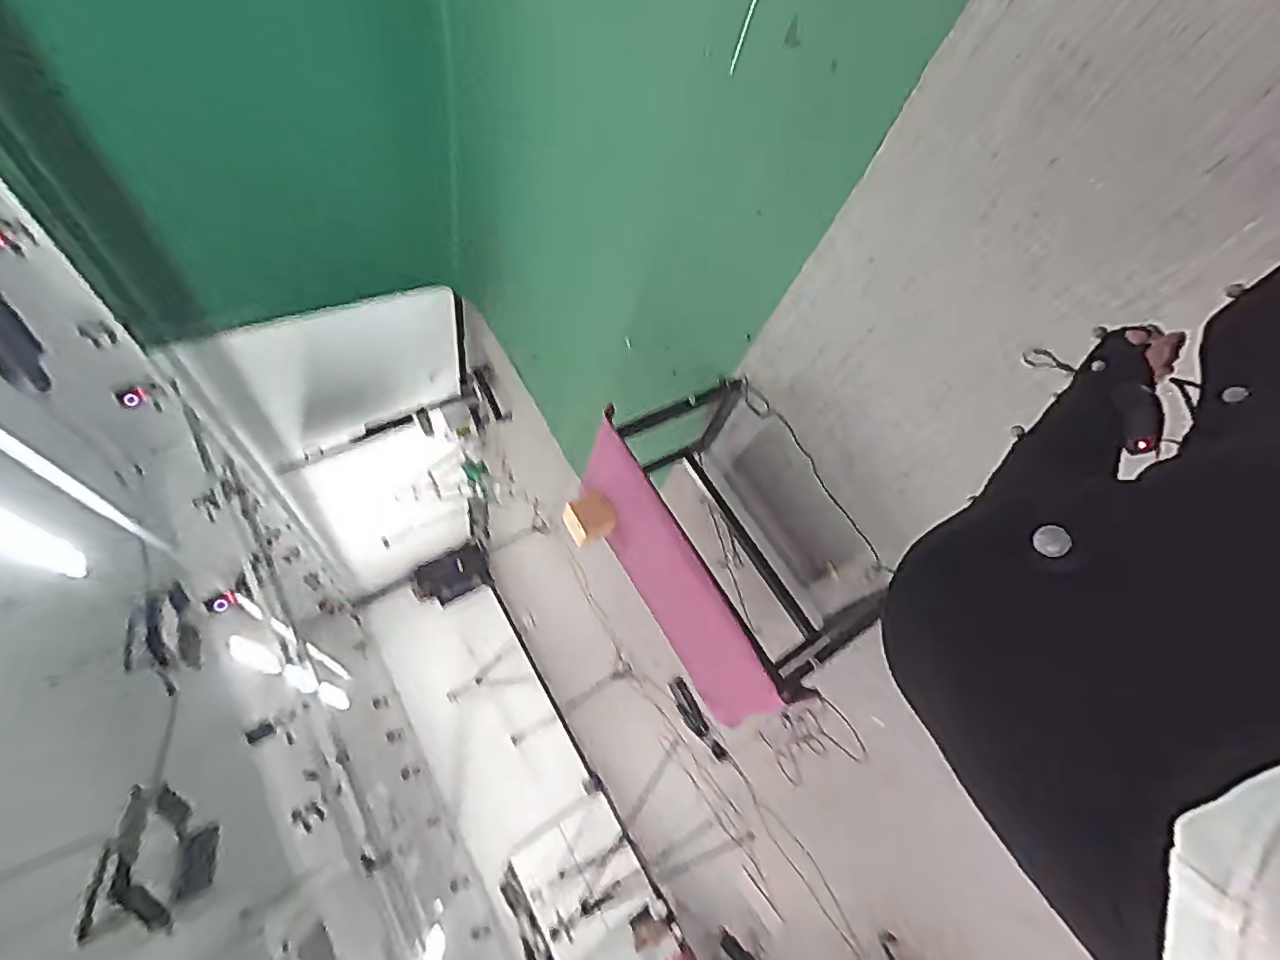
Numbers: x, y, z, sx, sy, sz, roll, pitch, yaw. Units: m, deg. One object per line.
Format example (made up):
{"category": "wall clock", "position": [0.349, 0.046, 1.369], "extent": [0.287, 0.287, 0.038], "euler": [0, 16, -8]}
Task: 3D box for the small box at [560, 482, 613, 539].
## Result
{"category": "small box", "position": [-0.238, 0.136, 2.413], "extent": [0.168, 0.176, 0.179], "euler": [57, 153, 14]}
